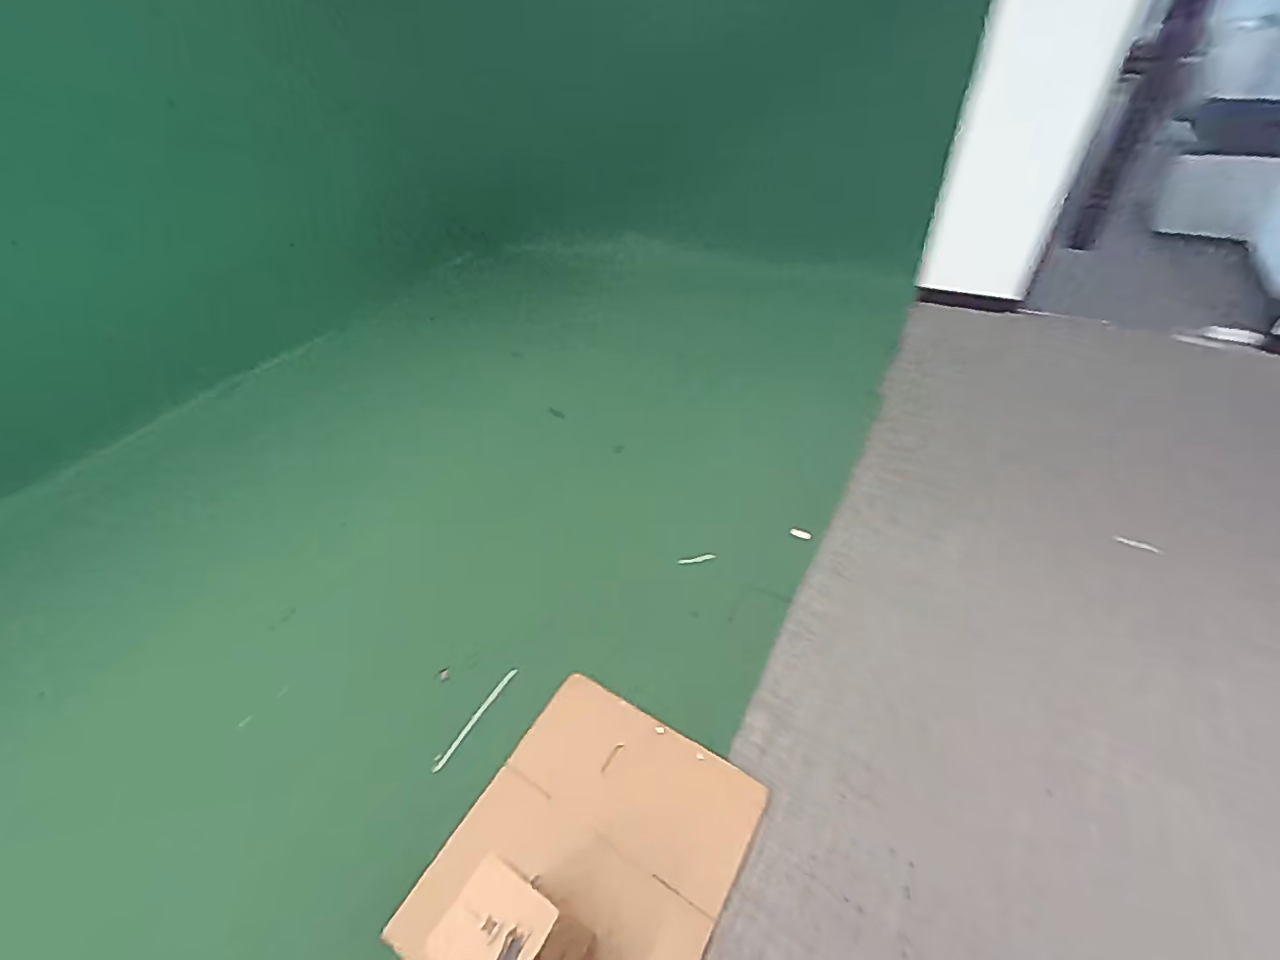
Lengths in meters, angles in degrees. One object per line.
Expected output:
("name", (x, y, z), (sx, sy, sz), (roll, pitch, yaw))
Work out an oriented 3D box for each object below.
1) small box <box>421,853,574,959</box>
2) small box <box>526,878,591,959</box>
("small box", (-0.238, 0.806, 0.953), (0.179, 0.176, 0.168), (20, 51, 27))
("small box", (-0.221, 0.922, 1.069), (0.179, 0.176, 0.168), (20, 52, 25))
